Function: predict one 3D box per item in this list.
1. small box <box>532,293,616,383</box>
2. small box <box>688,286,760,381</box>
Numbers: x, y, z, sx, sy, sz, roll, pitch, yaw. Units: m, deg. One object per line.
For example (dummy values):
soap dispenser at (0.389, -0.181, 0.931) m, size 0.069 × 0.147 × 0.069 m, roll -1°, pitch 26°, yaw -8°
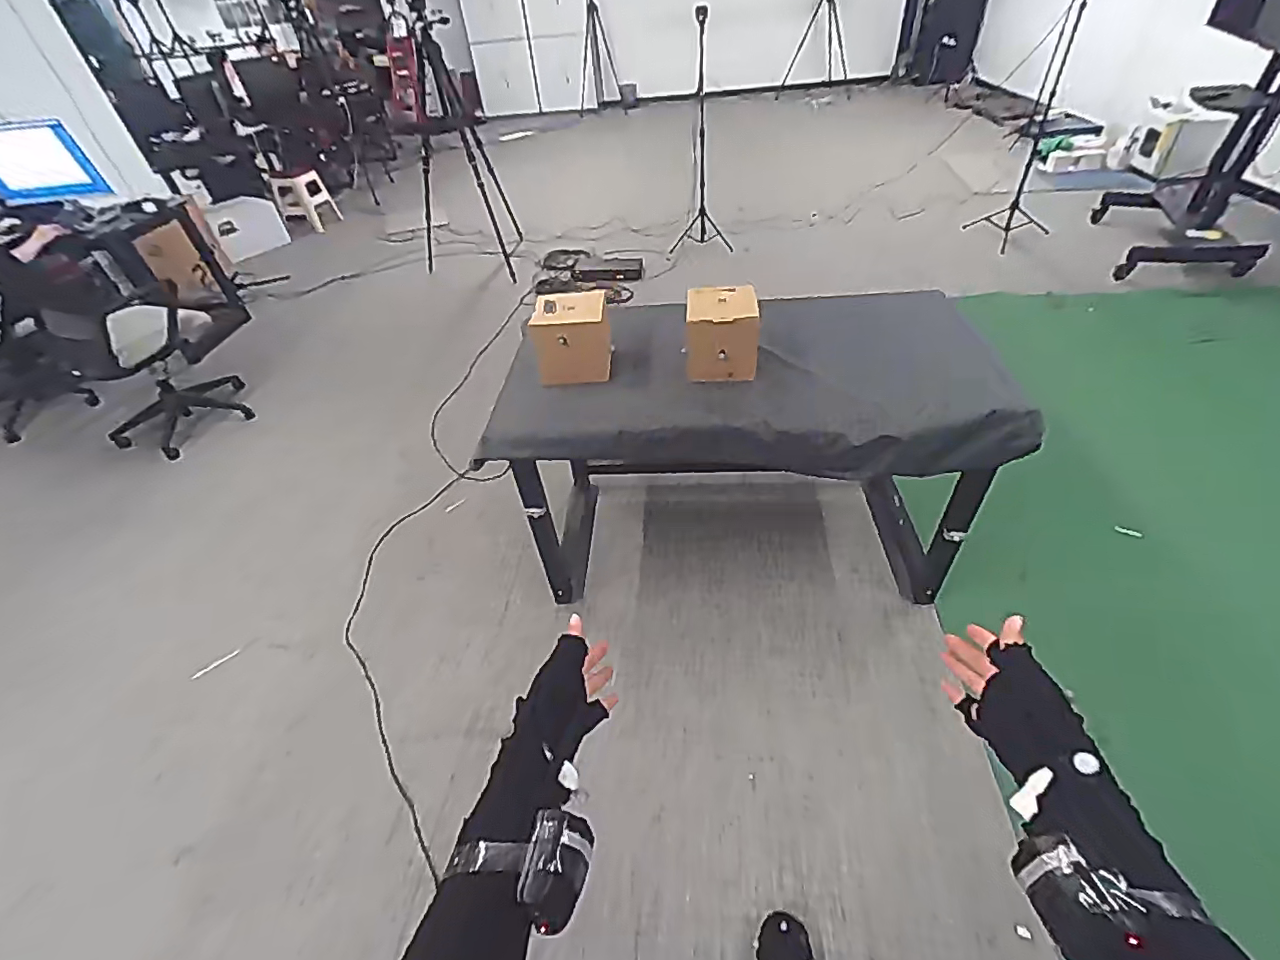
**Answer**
small box at (-0.161, -0.360, 1.379) m, size 0.179 × 0.176 × 0.168 m, roll -2°, pitch 43°, yaw 3°
small box at (0.206, -0.357, 1.334) m, size 0.168 × 0.176 × 0.179 m, roll 0°, pitch 44°, yaw 7°
